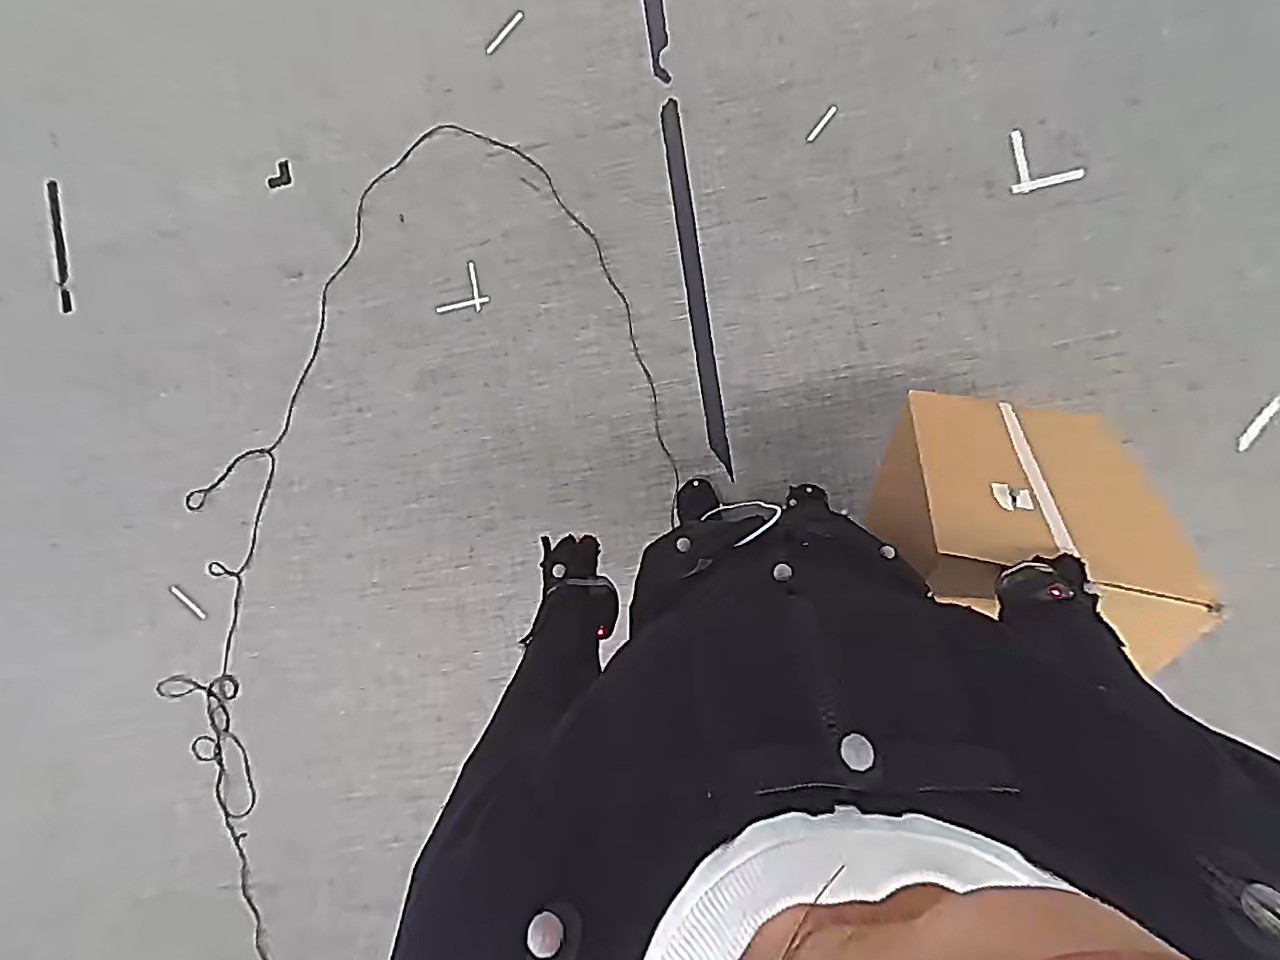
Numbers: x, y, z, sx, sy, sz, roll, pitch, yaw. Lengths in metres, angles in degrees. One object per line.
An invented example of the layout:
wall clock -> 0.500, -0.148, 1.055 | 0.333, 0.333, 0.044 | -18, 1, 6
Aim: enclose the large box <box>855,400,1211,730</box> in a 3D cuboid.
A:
large box -> 0.564, 0.120, 0.897 | 0.320, 0.408, 0.320 | 11, 132, 11
